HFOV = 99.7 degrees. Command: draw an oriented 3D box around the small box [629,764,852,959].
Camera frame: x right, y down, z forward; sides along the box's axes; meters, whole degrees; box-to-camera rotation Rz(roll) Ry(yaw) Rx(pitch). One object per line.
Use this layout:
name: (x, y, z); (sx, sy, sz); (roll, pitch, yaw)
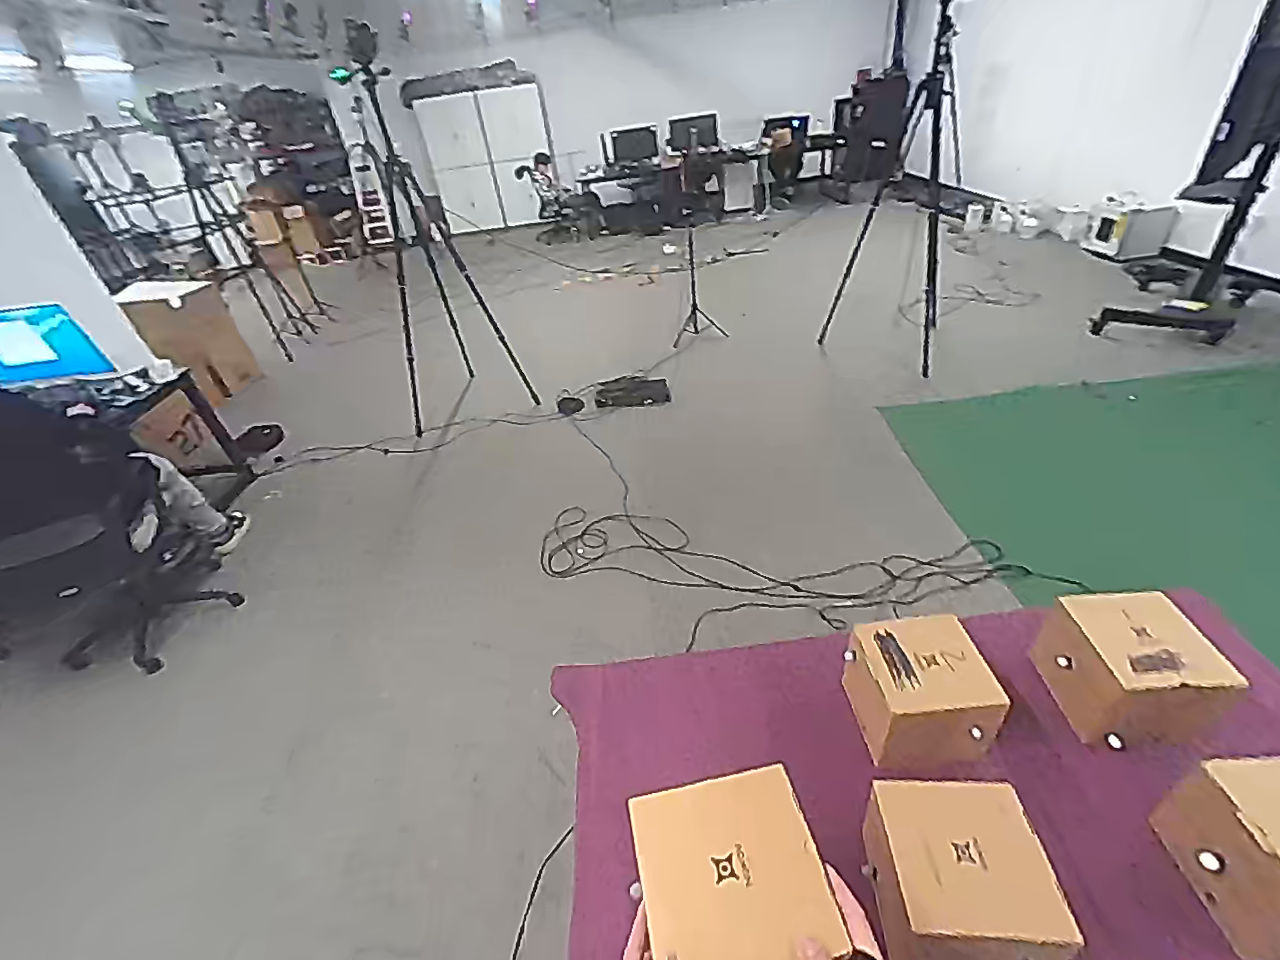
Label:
small box: (0.093, 0.433, 0.562); (0.179, 0.176, 0.168); (-9, 36, -5)

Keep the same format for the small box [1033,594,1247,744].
small box: (0.789, 0.309, 0.881); (0.168, 0.176, 0.179); (-3, 36, 7)

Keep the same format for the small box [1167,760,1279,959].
small box: (0.807, 0.466, 0.660); (0.179, 0.176, 0.168); (-5, 35, 7)

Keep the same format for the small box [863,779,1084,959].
small box: (0.400, 0.509, 0.689); (0.179, 0.176, 0.168); (-3, 35, 9)
